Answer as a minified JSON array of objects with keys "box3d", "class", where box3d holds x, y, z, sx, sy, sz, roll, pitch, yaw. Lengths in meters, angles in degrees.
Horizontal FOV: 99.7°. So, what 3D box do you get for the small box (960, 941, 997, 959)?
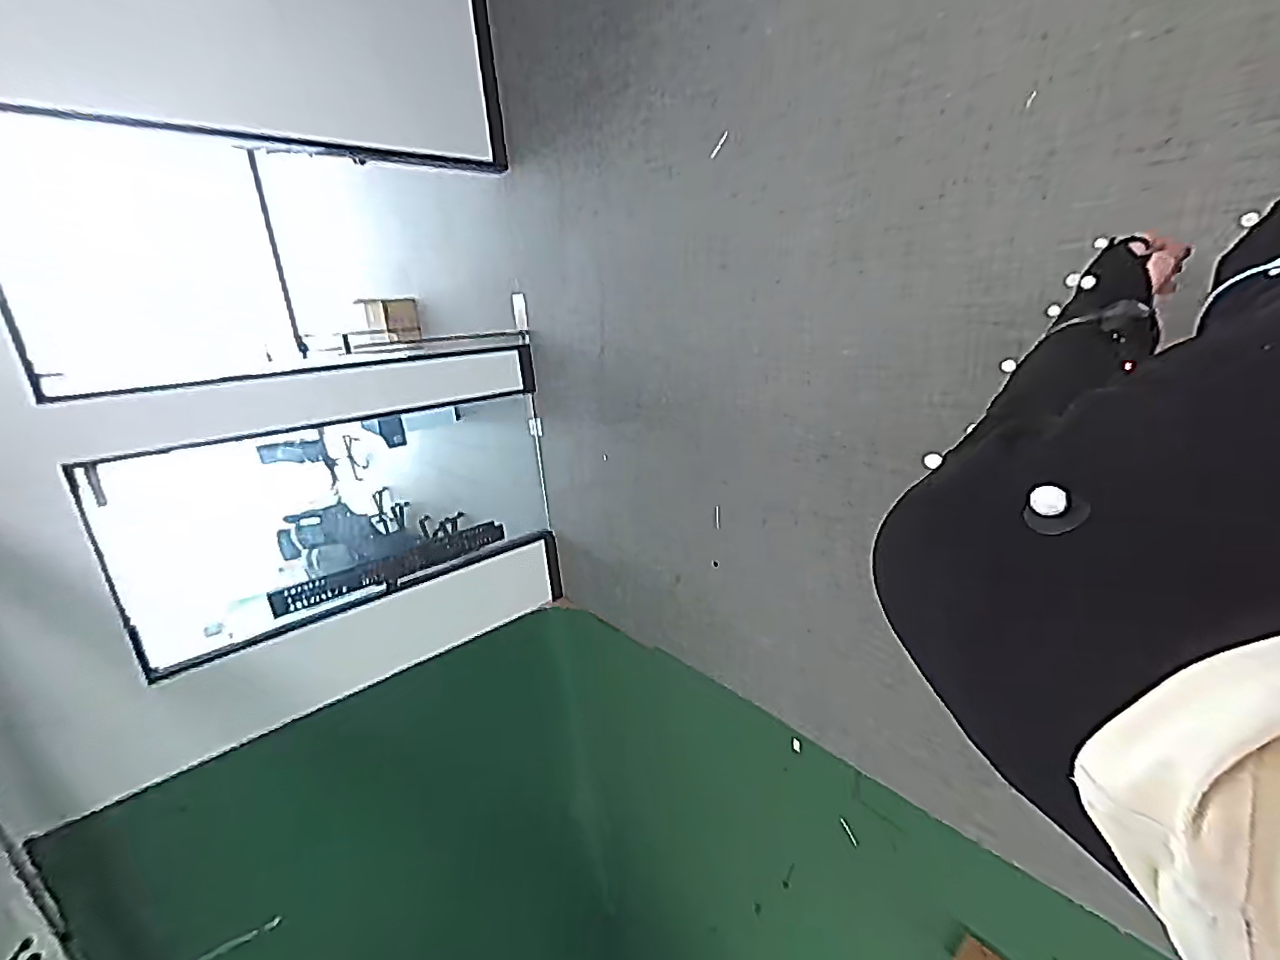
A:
[{"box3d":[1.160,1.739,1.829,0.168,0.176,0.179,20,118,46],"class":"small box"}]
